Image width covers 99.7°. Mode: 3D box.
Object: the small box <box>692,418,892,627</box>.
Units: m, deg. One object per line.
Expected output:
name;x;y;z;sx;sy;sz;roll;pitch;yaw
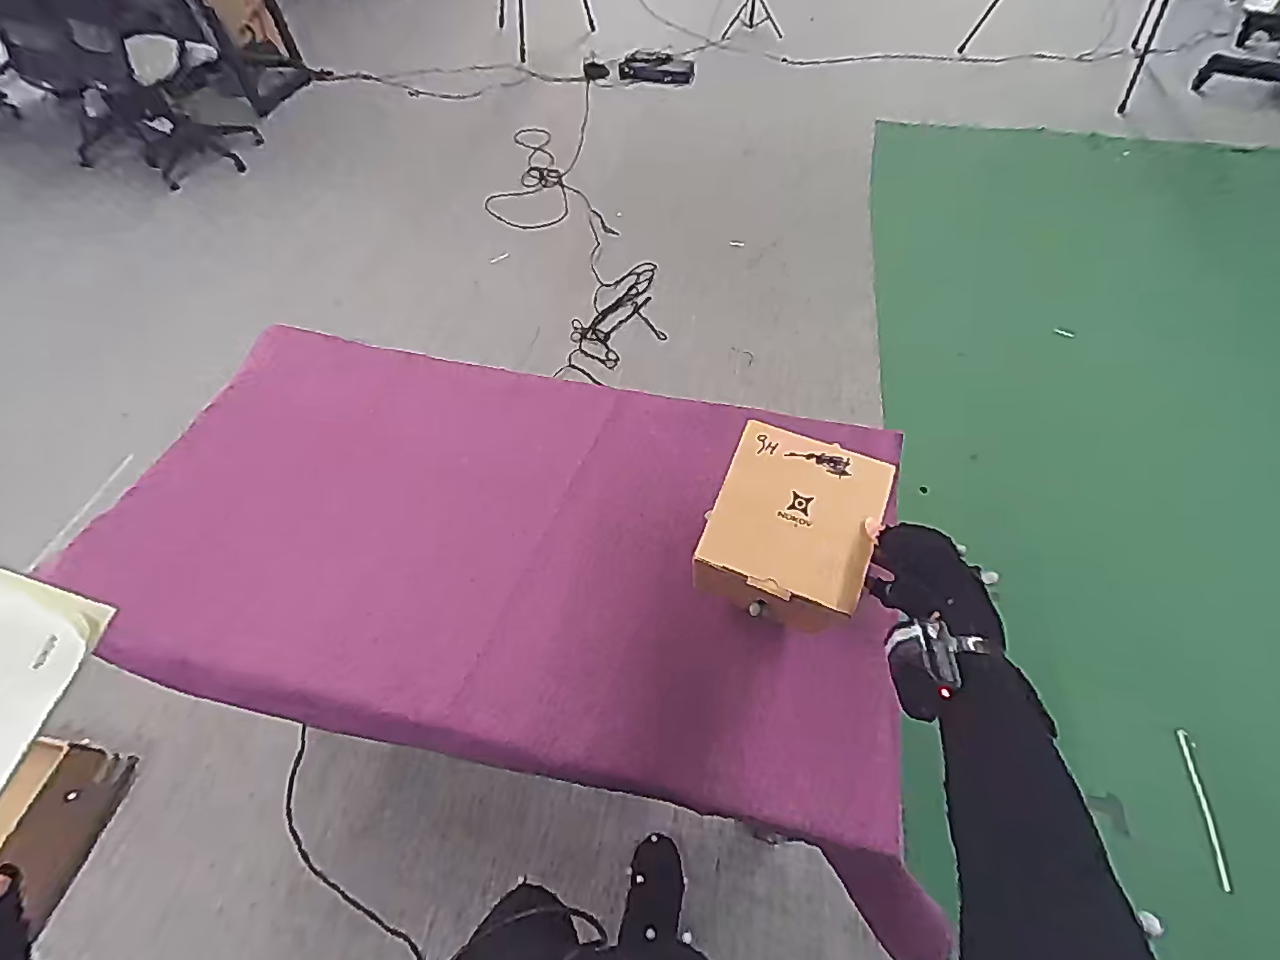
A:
small box;0.171;0.060;0.645;0.168;0.176;0.179;20;72;13
